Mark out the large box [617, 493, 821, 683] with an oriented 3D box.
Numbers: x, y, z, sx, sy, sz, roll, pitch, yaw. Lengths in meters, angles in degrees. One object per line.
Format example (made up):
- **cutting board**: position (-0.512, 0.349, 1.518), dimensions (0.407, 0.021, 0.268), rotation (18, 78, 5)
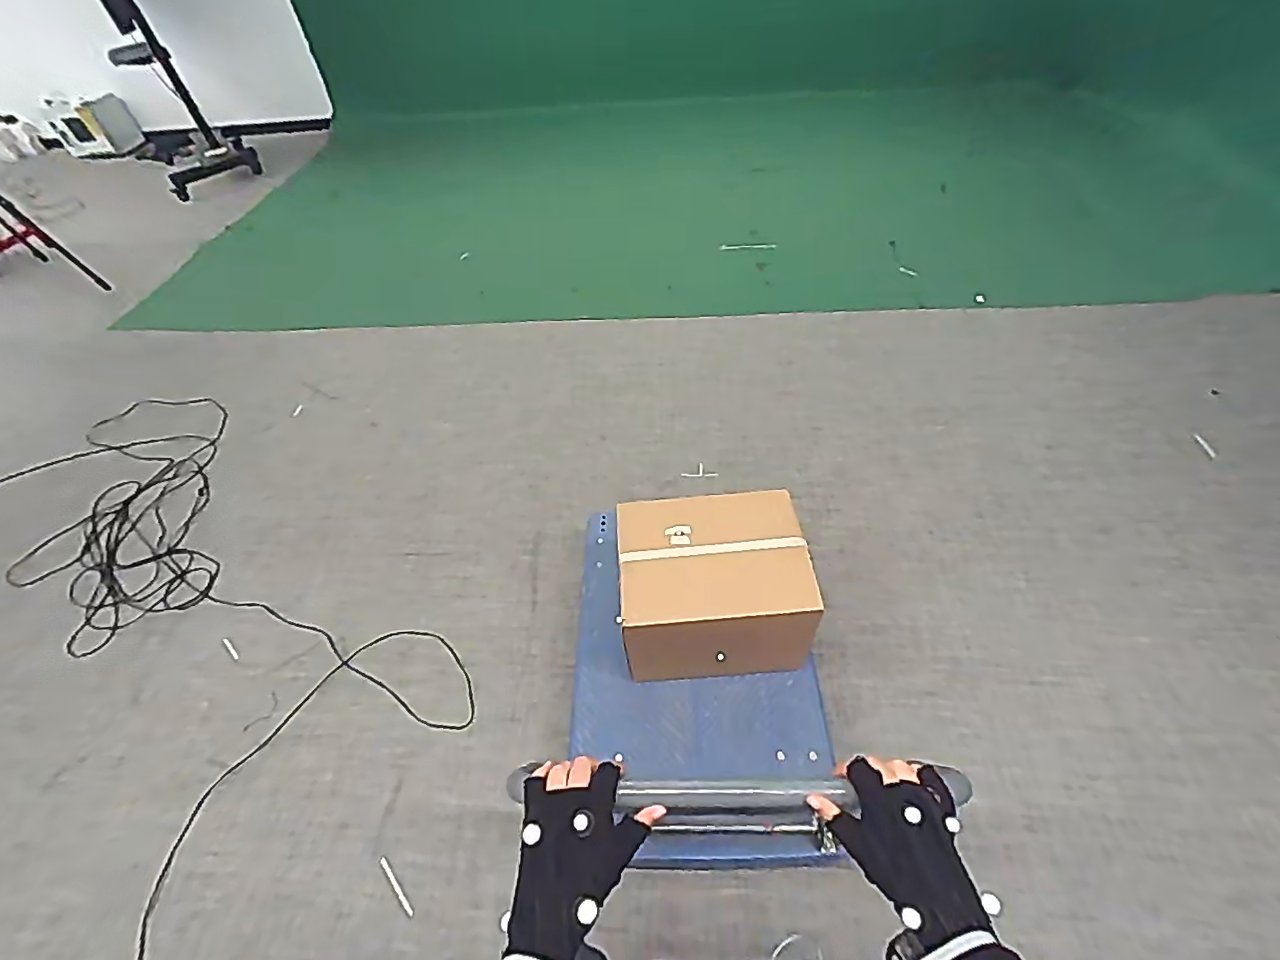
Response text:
- **large box**: position (0.169, 0.265, 1.293), dimensions (0.408, 0.320, 0.320), rotation (-7, 49, 1)
